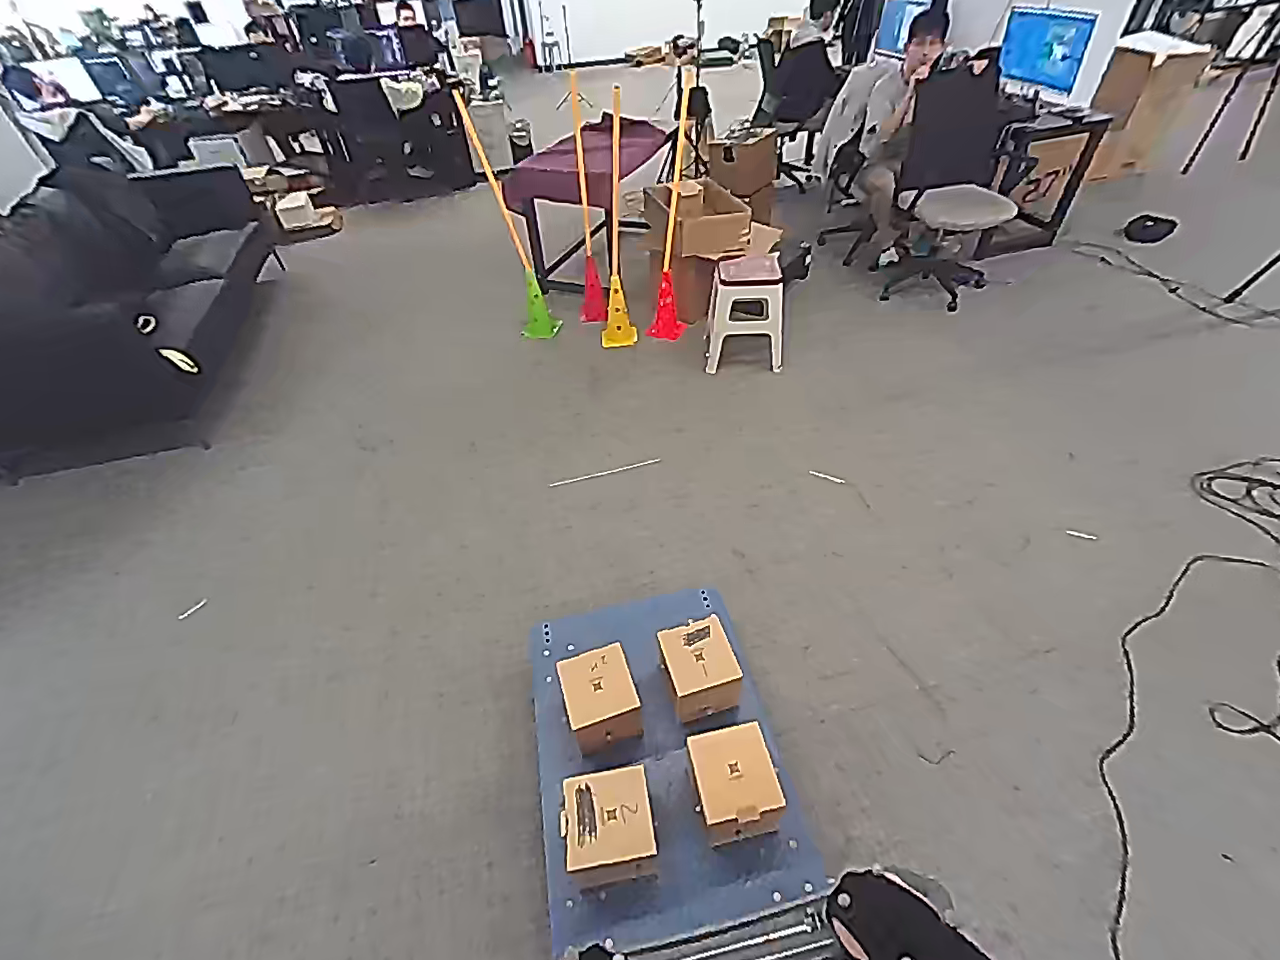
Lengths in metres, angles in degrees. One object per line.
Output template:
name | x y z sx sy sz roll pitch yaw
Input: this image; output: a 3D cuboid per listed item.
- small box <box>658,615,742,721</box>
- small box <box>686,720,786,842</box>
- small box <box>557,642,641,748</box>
small box | 0.147 0.481 1.382 0.168 0.176 0.179 -14 46 -9
small box | 0.201 0.664 1.193 0.168 0.176 0.179 -10 46 -6
small box | -0.099 0.539 1.341 0.168 0.176 0.179 -15 45 -12
